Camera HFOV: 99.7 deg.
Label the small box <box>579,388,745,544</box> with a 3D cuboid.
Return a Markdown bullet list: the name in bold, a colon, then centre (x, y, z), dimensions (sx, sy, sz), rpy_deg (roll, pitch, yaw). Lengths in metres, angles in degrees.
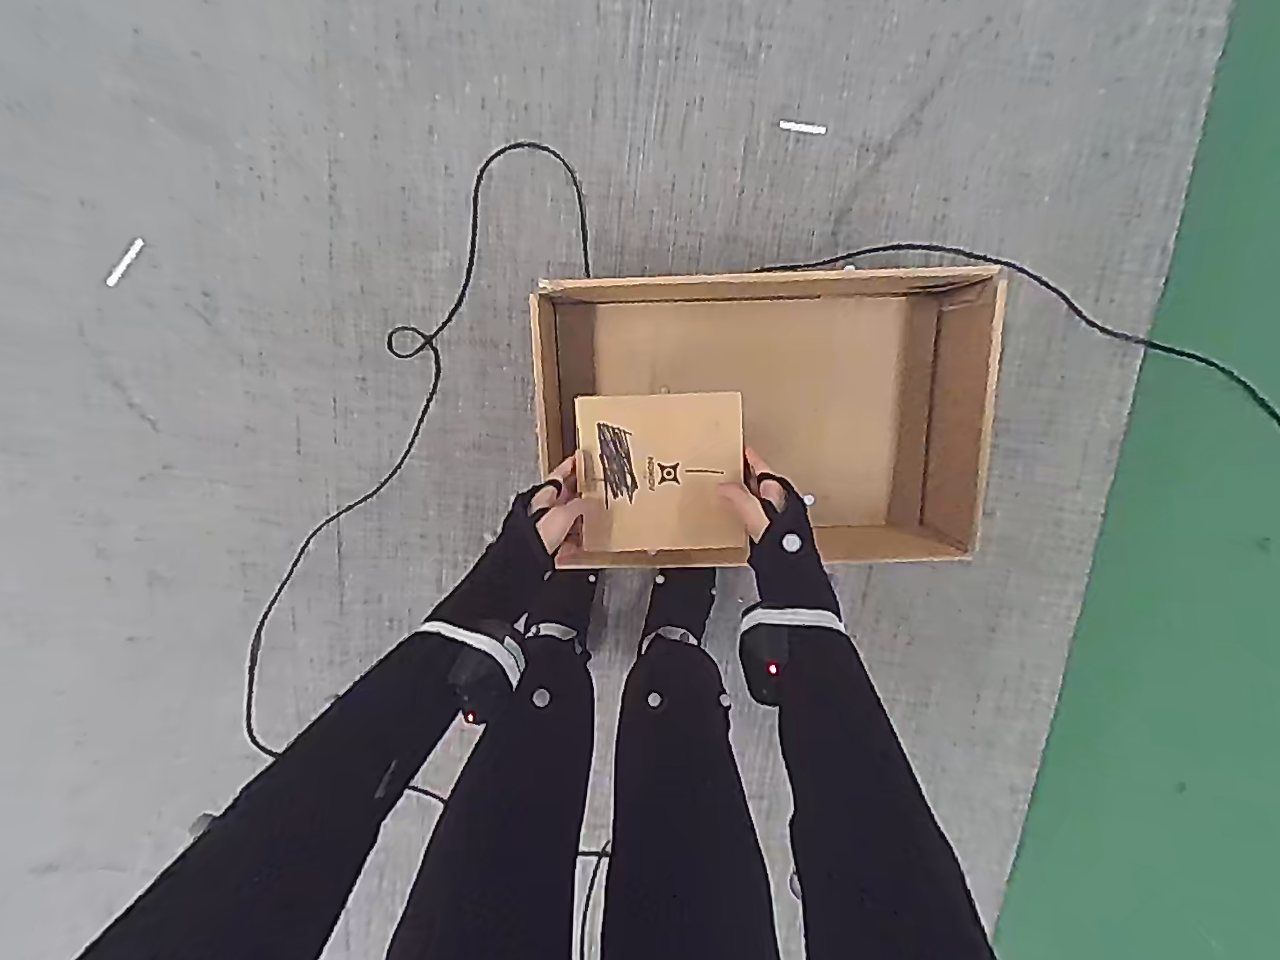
- **small box**: centre (0.026, -0.018, 0.649), dimensions (0.179, 0.176, 0.168), rpy_deg (-1, 94, 1)
